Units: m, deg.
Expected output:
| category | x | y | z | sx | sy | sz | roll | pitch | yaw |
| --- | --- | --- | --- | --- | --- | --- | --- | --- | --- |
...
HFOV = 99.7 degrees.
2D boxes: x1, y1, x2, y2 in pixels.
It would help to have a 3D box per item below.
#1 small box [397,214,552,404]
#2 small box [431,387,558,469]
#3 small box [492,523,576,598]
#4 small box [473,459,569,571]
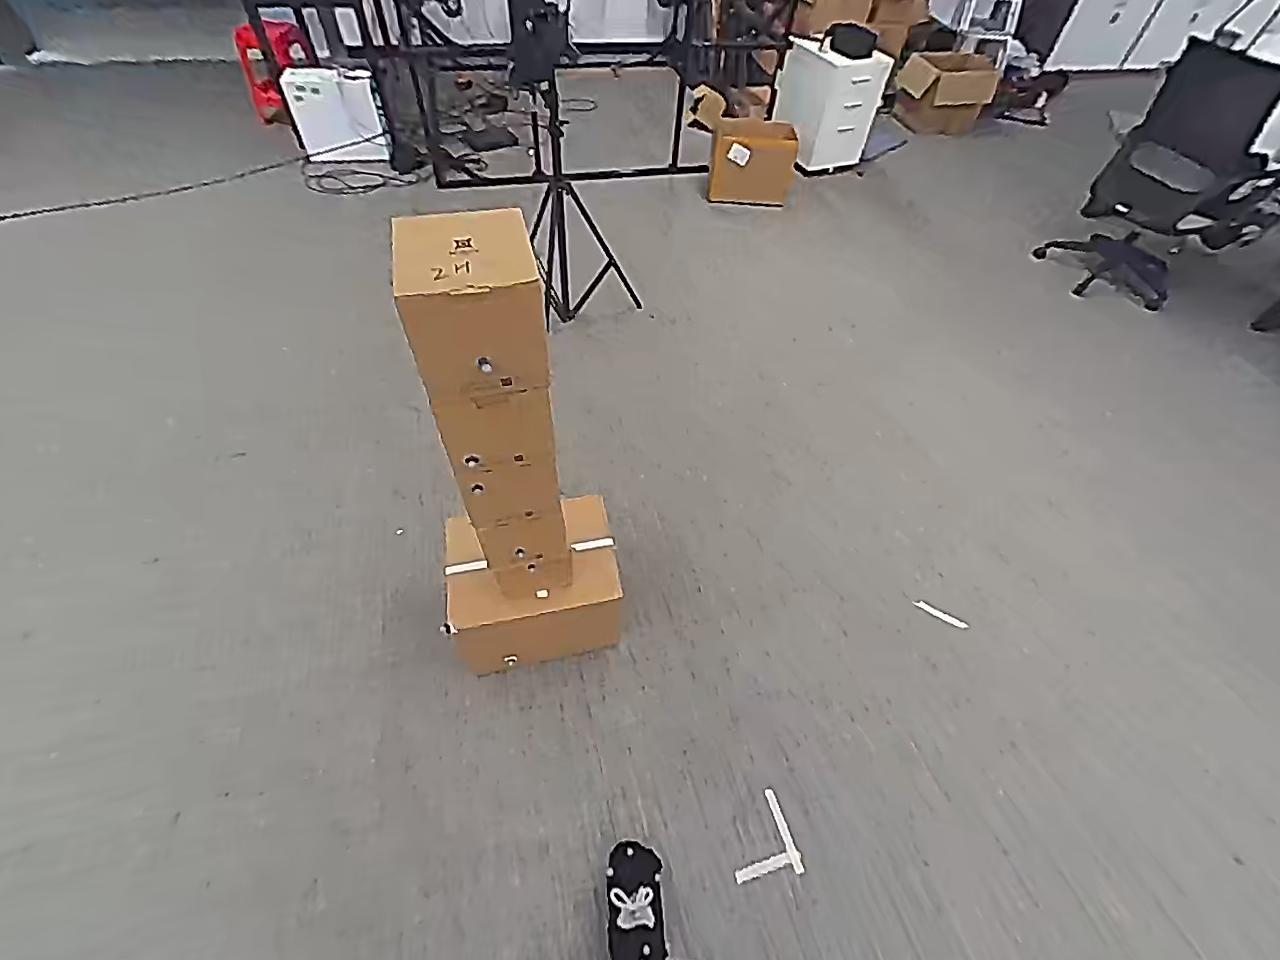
| category | x | y | z | sx | sy | sz | roll | pitch | yaw |
| --- | --- | --- | --- | --- | --- | --- | --- | --- | --- |
| small box | -0.218 | -0.229 | 0.729 | 0.168 | 0.176 | 0.179 | -11 | 55 | -11 |
| small box | -0.227 | -0.131 | 0.861 | 0.168 | 0.176 | 0.179 | -8 | 53 | -10 |
| small box | -0.251 | 0.157 | 1.258 | 0.179 | 0.176 | 0.168 | -10 | 55 | -13 |
| small box | -0.245 | 0.065 | 1.124 | 0.168 | 0.176 | 0.179 | -10 | 55 | -11 |
